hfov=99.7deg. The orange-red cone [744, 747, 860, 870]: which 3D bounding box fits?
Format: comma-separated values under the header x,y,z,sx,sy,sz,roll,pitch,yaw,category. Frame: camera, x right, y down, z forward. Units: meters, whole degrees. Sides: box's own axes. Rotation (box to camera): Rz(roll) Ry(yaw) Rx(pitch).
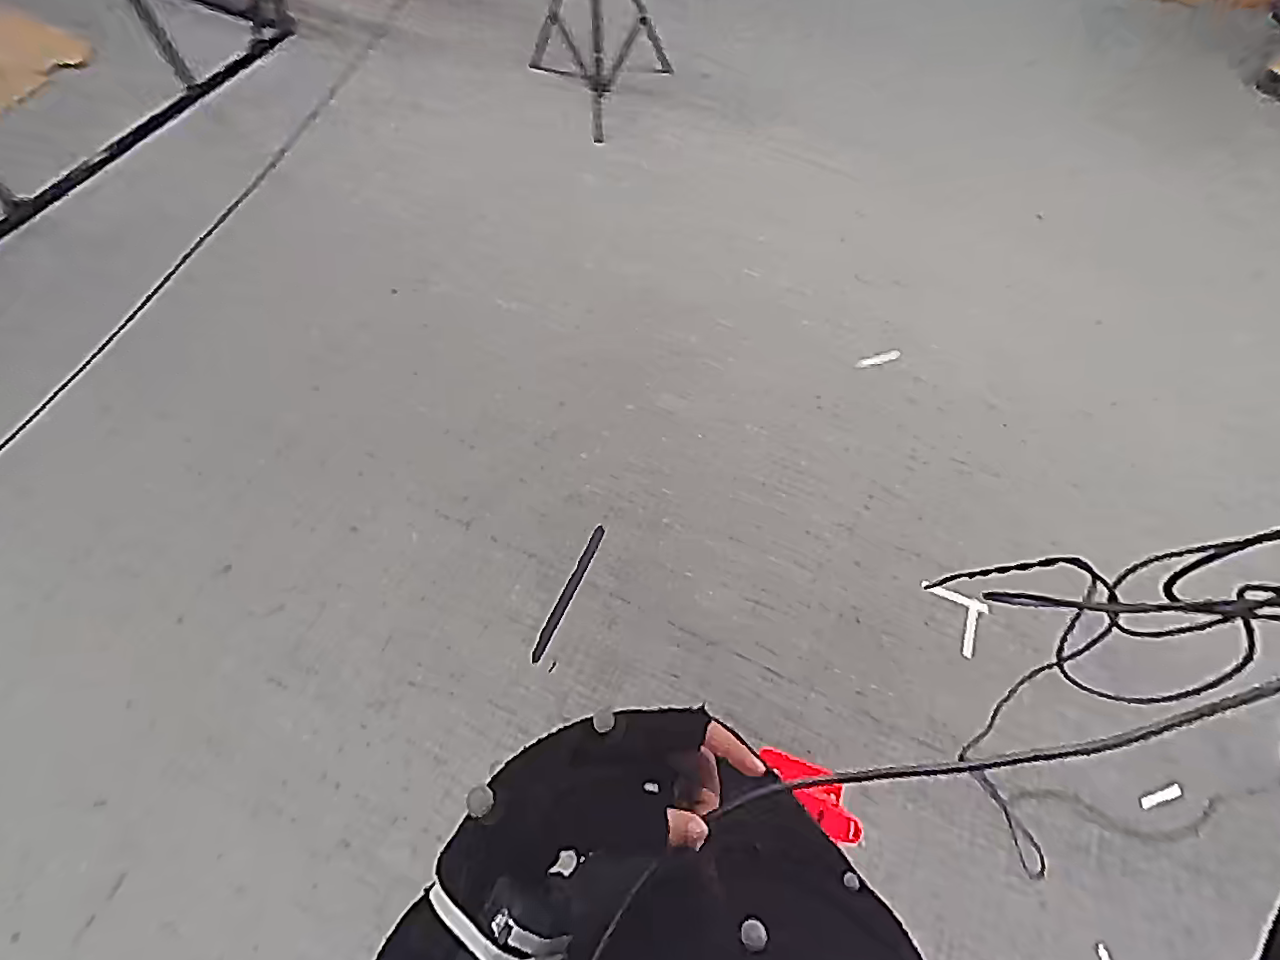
x,y,z,sx,sy,sz,roll,pitch,yaw,category
0.344,0.652,1.044,0.198,0.360,0.199,19,67,9,orange-red cone
